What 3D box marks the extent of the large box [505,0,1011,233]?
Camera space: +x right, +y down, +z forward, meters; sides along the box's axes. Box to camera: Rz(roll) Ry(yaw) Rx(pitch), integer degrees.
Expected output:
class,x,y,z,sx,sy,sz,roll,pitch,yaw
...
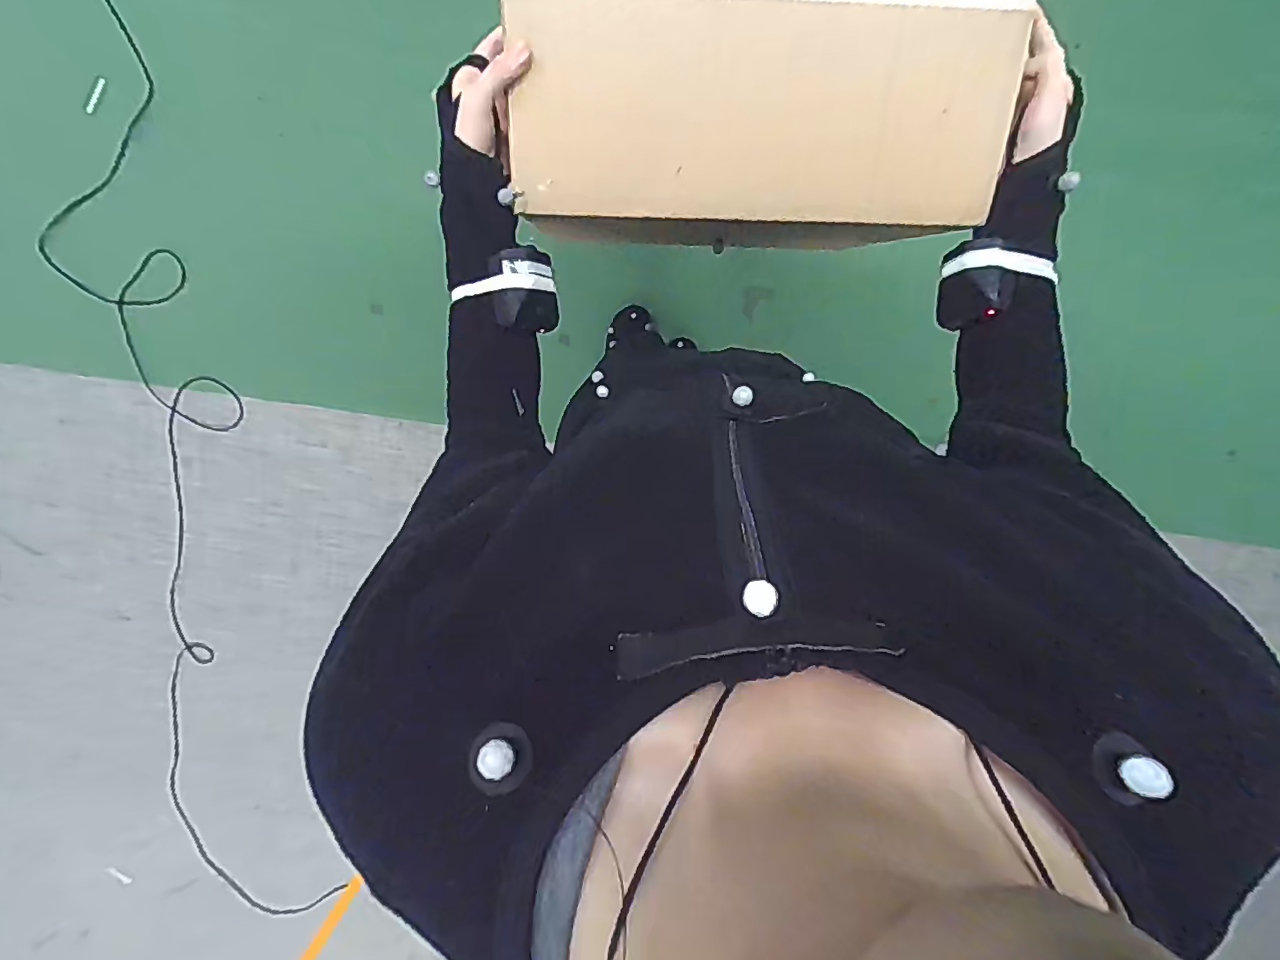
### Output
class,x,y,z,sx,sy,sz,roll,pitch,yaw
large box,0.090,-0.429,0.555,0.408,0.320,0.320,0,110,-2
